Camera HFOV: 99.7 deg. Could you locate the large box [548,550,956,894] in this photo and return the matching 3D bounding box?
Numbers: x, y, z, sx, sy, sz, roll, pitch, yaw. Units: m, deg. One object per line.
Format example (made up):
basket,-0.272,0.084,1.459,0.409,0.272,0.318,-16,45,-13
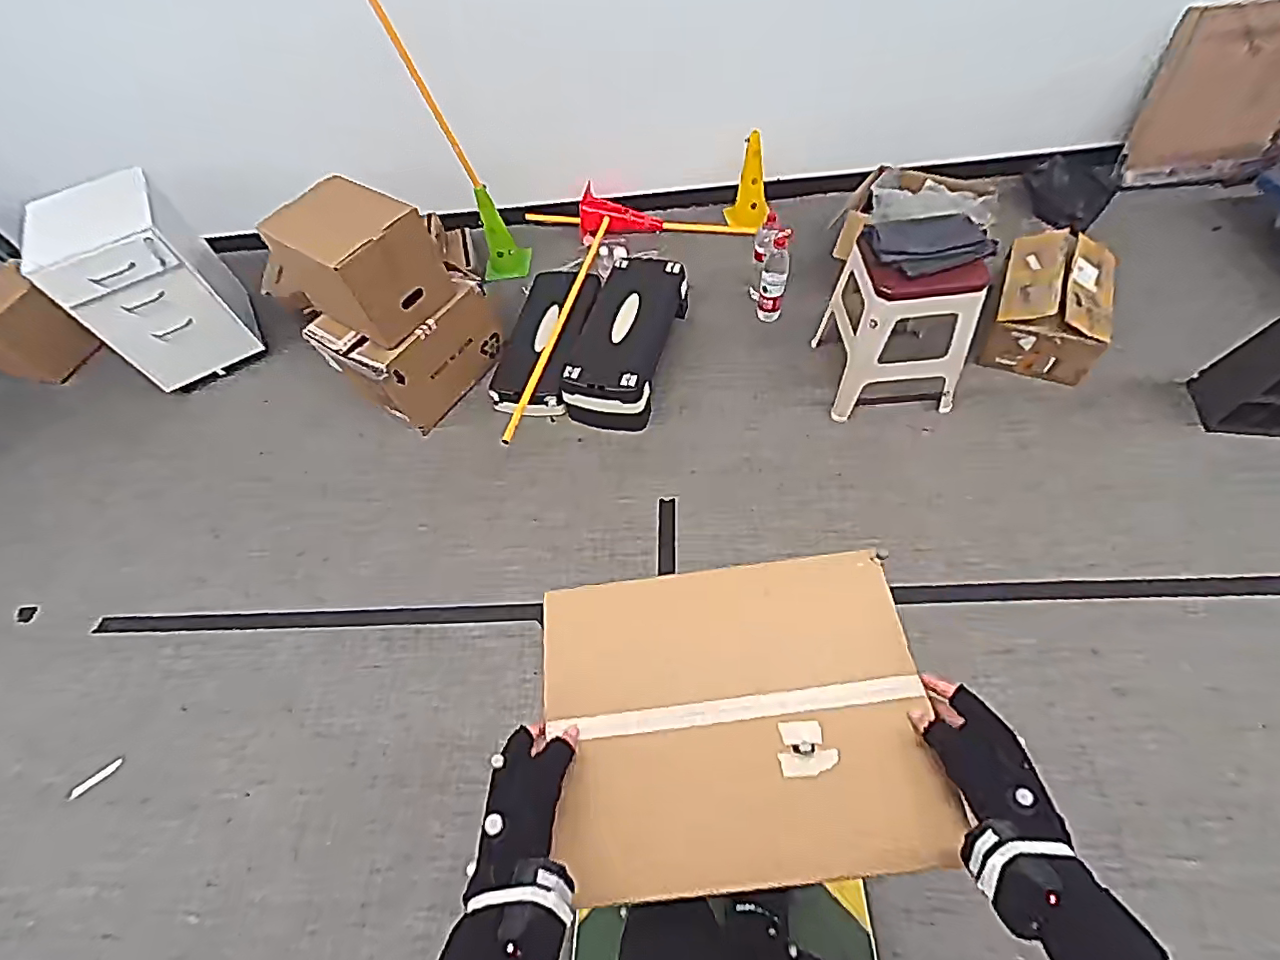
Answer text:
large box,0.110,0.320,0.734,0.408,0.320,0.320,-8,62,1
